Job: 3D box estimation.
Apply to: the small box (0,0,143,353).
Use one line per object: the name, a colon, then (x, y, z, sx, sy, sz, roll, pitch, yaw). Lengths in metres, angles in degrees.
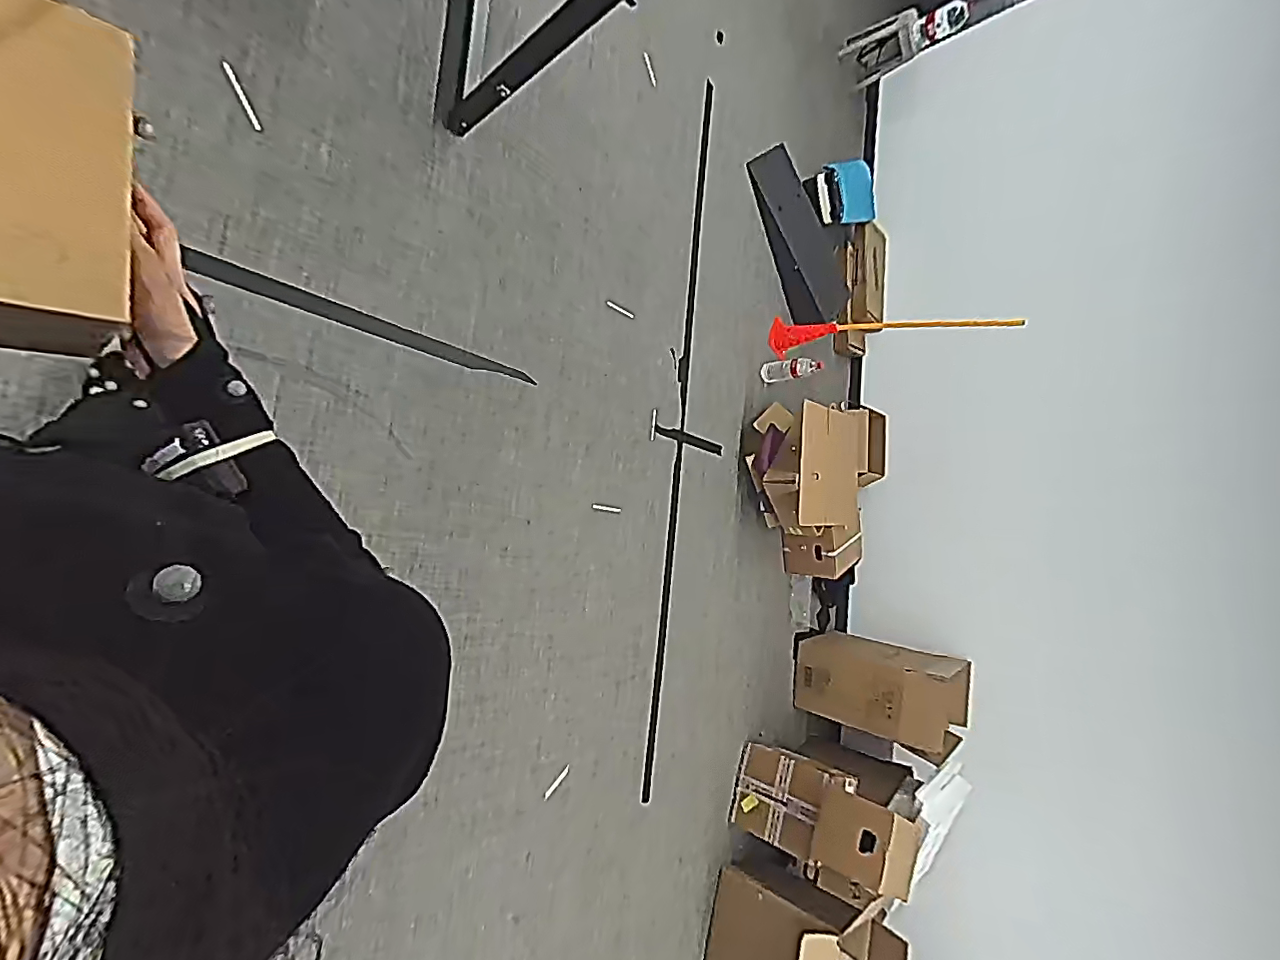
small box: (-0.413, -0.181, 0.313, 0.168, 0.176, 0.179, 1, 89, -50)
